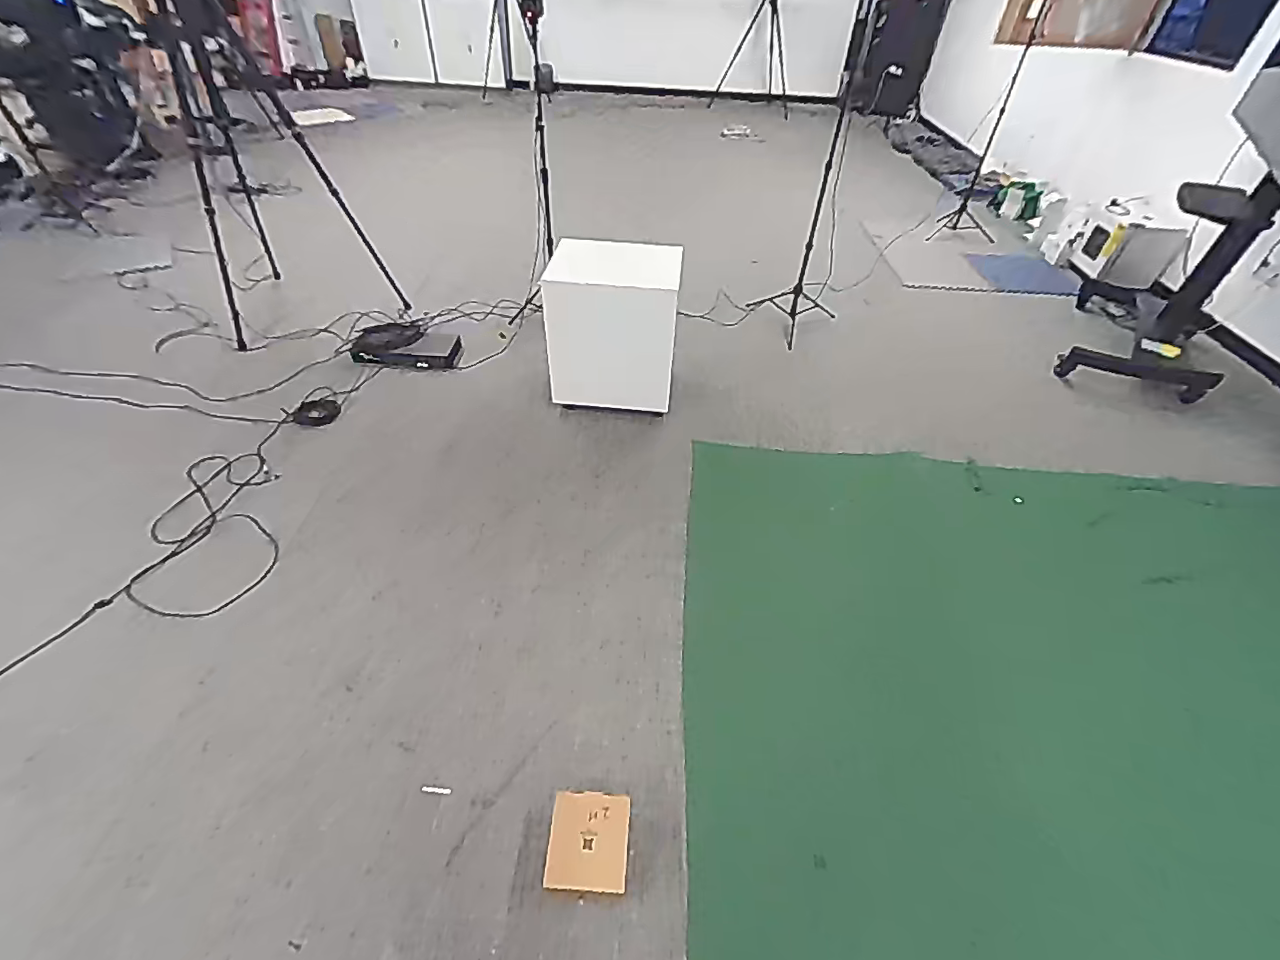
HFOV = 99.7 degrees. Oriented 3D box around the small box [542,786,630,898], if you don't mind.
[{"bbox_3d":[-0.111,0.794,1.181,0.168,0.176,0.179,5,46,0],"label":"small box"}]
